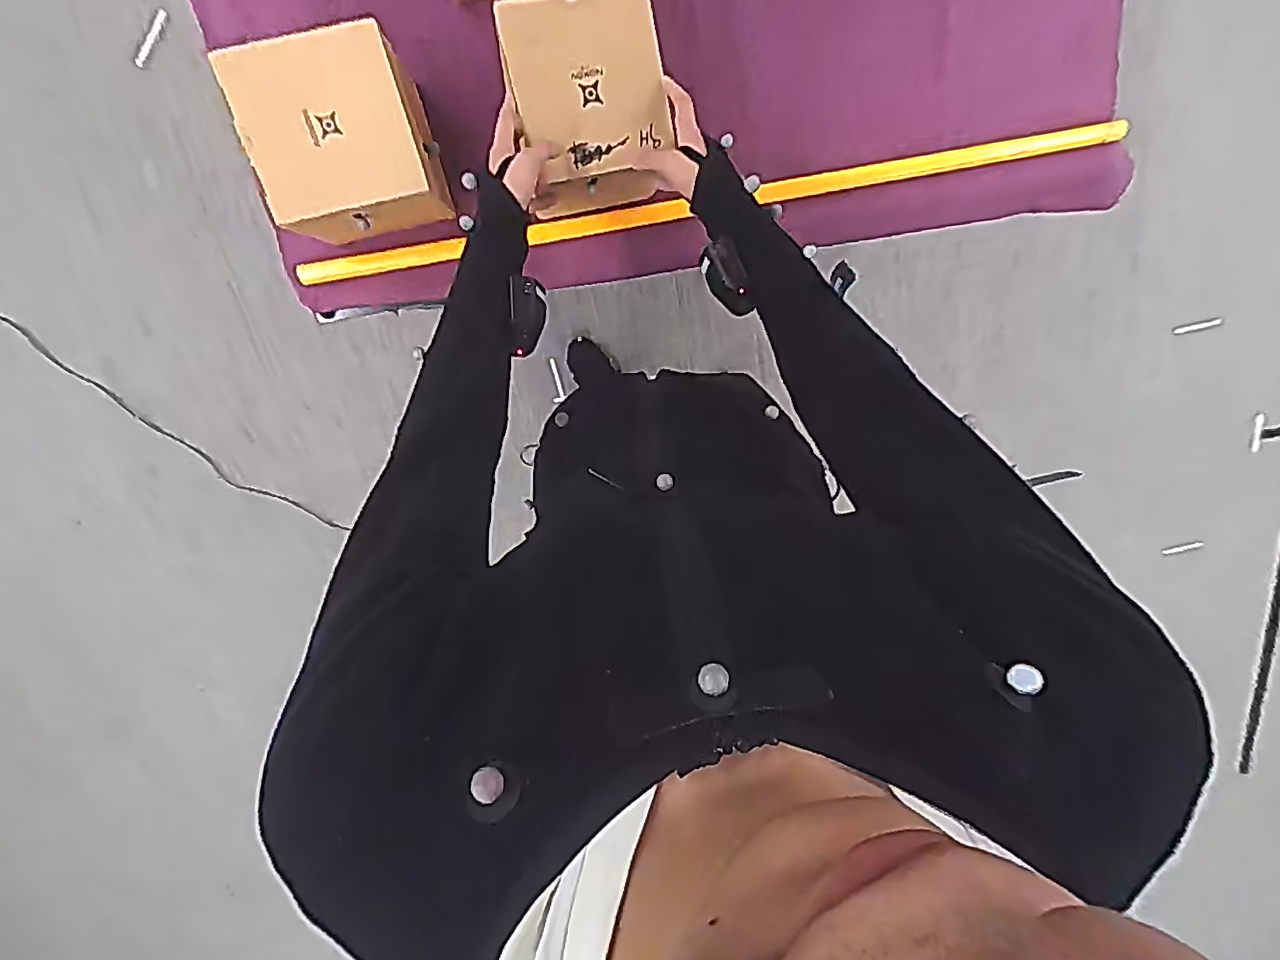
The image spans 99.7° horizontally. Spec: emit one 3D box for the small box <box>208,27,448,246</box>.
[{"bbox_3d":[-0.346,-0.392,0.649,0.179,0.176,0.168,-15,108,-2],"label":"small box"}]

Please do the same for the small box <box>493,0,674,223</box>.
[{"bbox_3d":[-0.070,-0.435,0.653,0.168,0.176,0.179,-14,105,-5],"label":"small box"}]
